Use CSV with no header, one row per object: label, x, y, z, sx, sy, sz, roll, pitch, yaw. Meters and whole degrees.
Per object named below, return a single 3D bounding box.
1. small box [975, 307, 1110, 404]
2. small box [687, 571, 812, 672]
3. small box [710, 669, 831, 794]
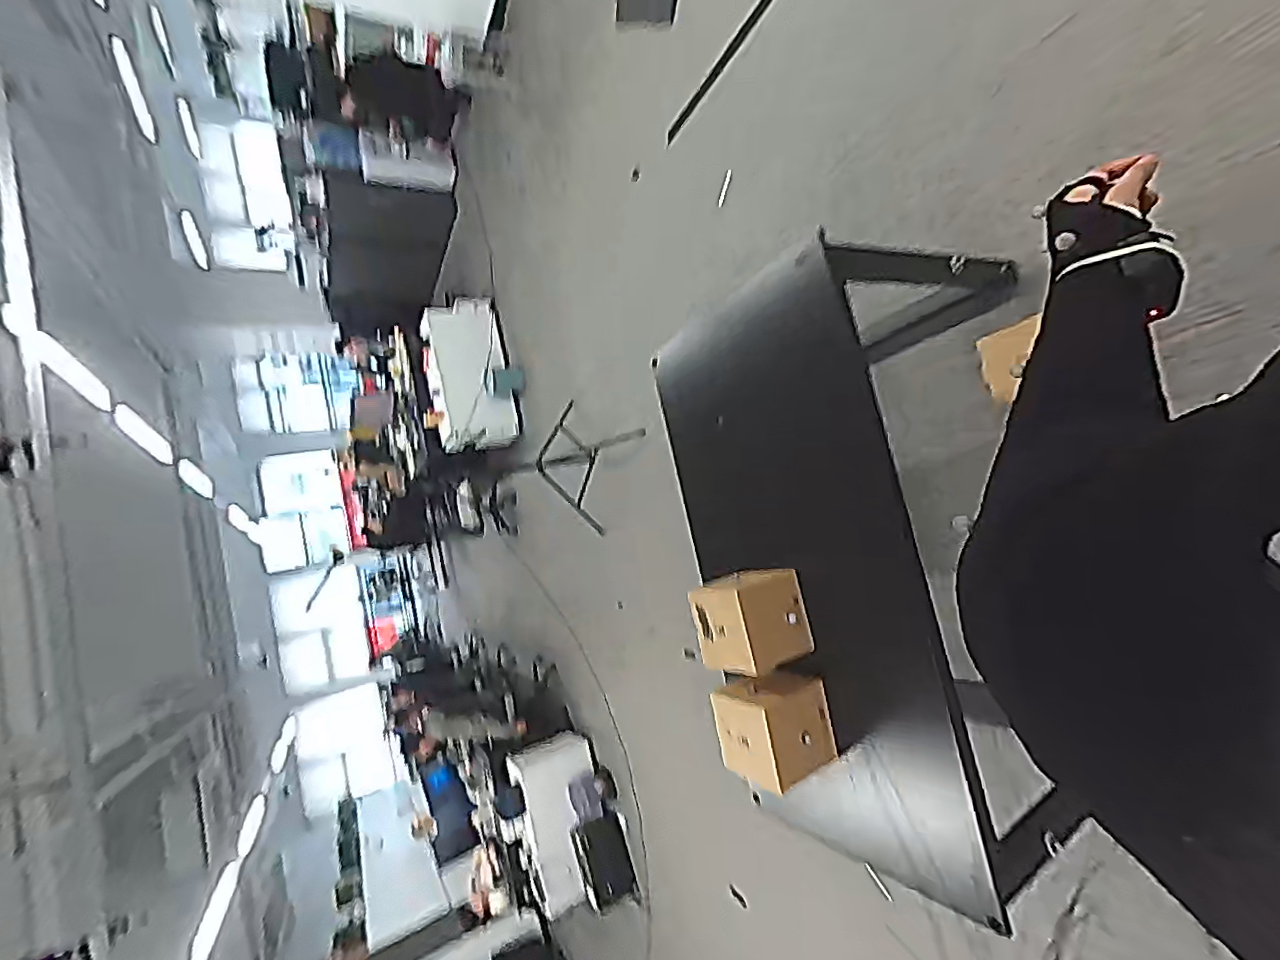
small box,0.925,-0.284,1.247,0.179,0.176,0.168,-24,79,59
small box,0.229,0.294,1.148,0.179,0.176,0.168,-23,78,58
small box,0.277,0.513,1.133,0.179,0.176,0.168,-16,84,60
